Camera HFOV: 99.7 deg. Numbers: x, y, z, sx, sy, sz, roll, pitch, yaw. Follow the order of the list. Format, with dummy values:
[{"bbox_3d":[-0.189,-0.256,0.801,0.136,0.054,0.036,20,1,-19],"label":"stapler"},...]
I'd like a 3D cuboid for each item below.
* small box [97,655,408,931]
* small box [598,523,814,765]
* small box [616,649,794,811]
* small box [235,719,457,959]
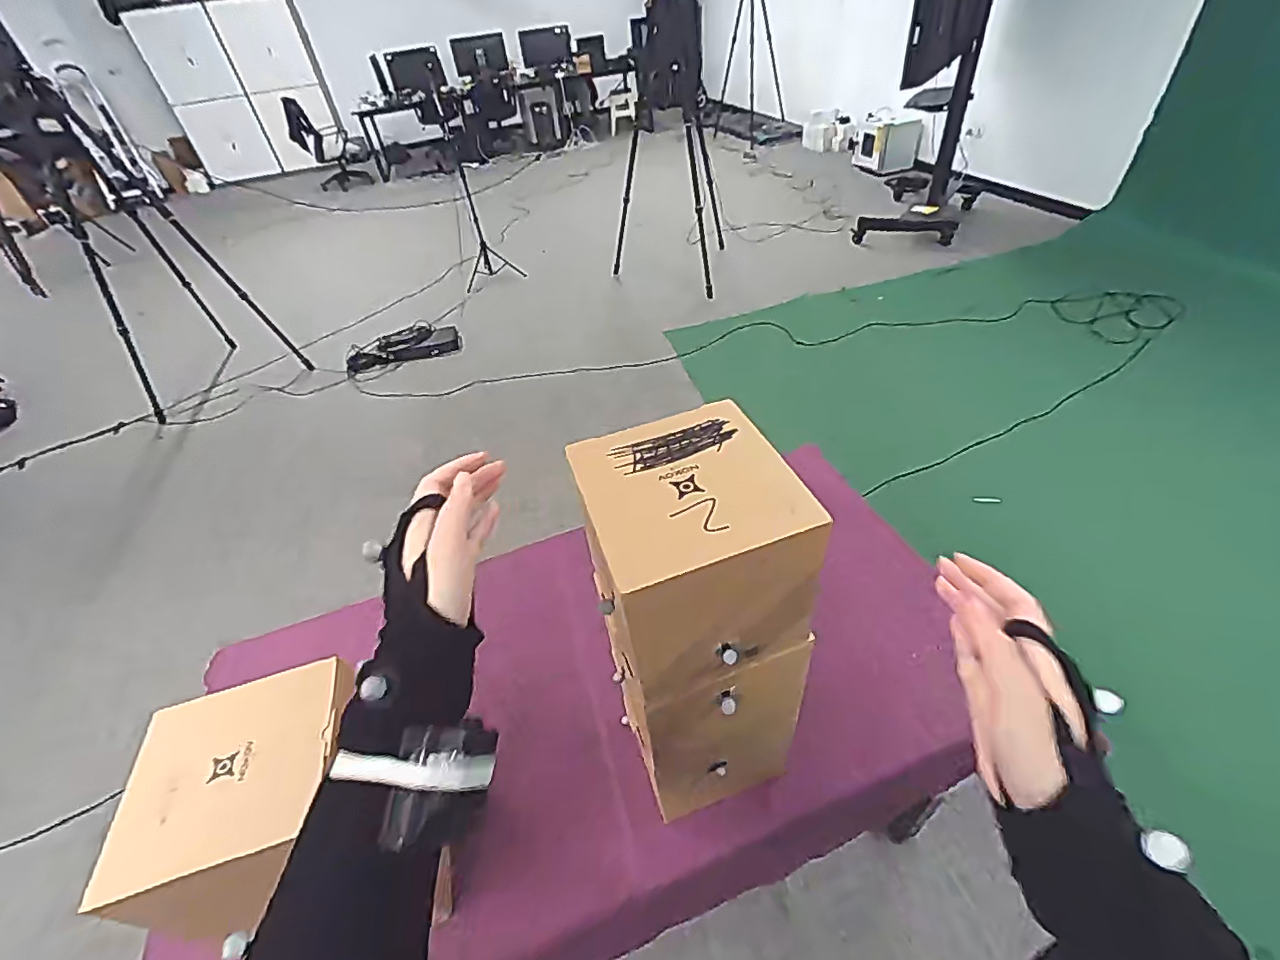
[{"bbox_3d":[-0.348,0.309,0.537,0.179,0.176,0.168,-16,43,-7],"label":"small box"},{"bbox_3d":[0.067,0.182,0.603,0.179,0.176,0.168,-18,44,-9],"label":"small box"},{"bbox_3d":[0.083,0.301,0.713,0.179,0.176,0.168,-17,44,-9],"label":"small box"},{"bbox_3d":[-0.330,0.428,0.647,0.168,0.176,0.179,-17,43,-8],"label":"small box"}]
